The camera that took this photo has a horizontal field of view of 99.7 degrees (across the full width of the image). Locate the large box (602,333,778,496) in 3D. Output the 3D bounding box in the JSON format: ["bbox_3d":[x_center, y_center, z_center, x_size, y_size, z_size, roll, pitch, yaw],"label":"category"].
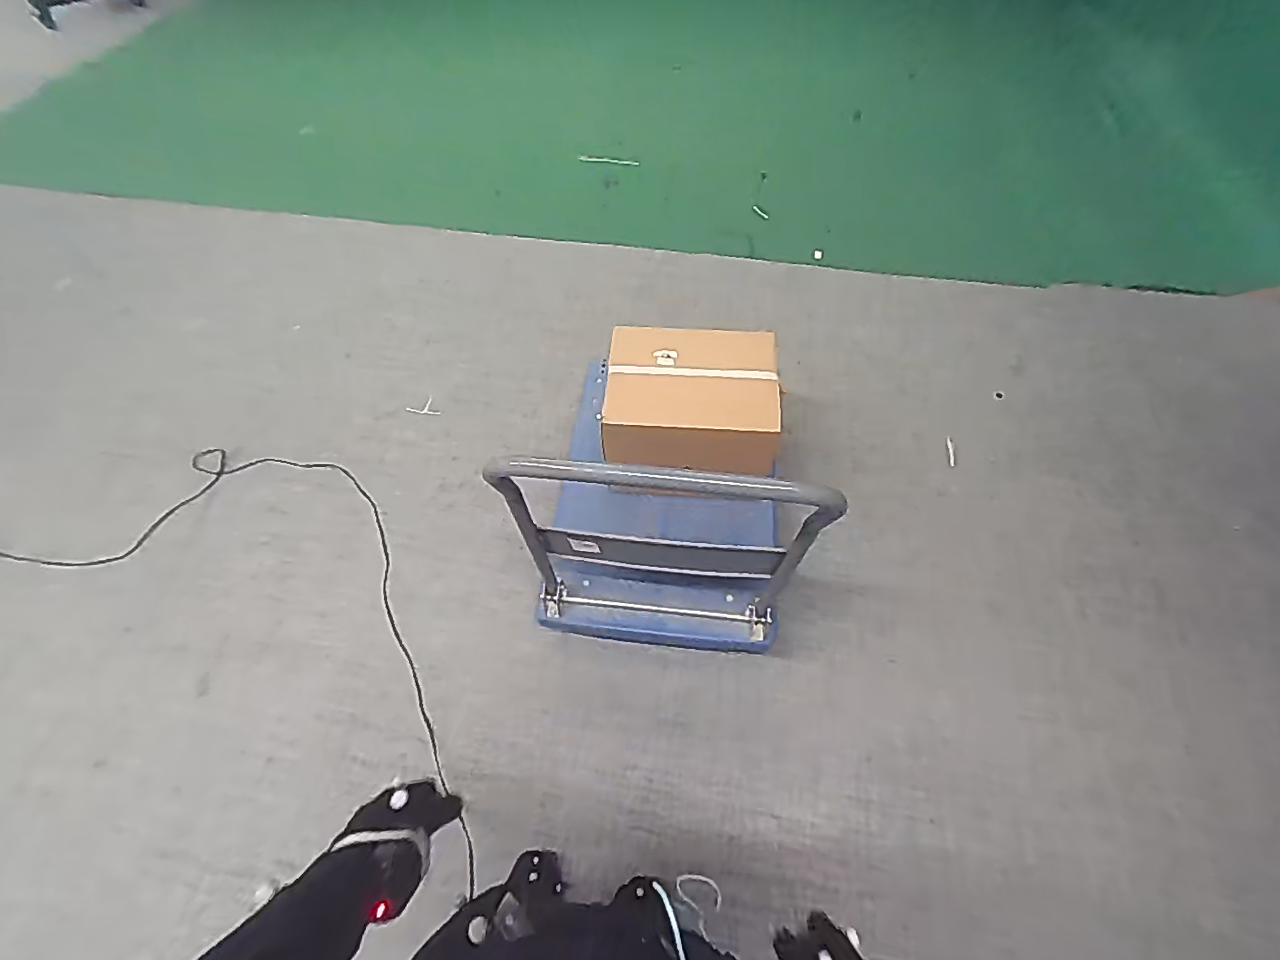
[{"bbox_3d":[0.124,-0.164,1.417,0.408,0.320,0.320,2,58,3],"label":"large box"}]
